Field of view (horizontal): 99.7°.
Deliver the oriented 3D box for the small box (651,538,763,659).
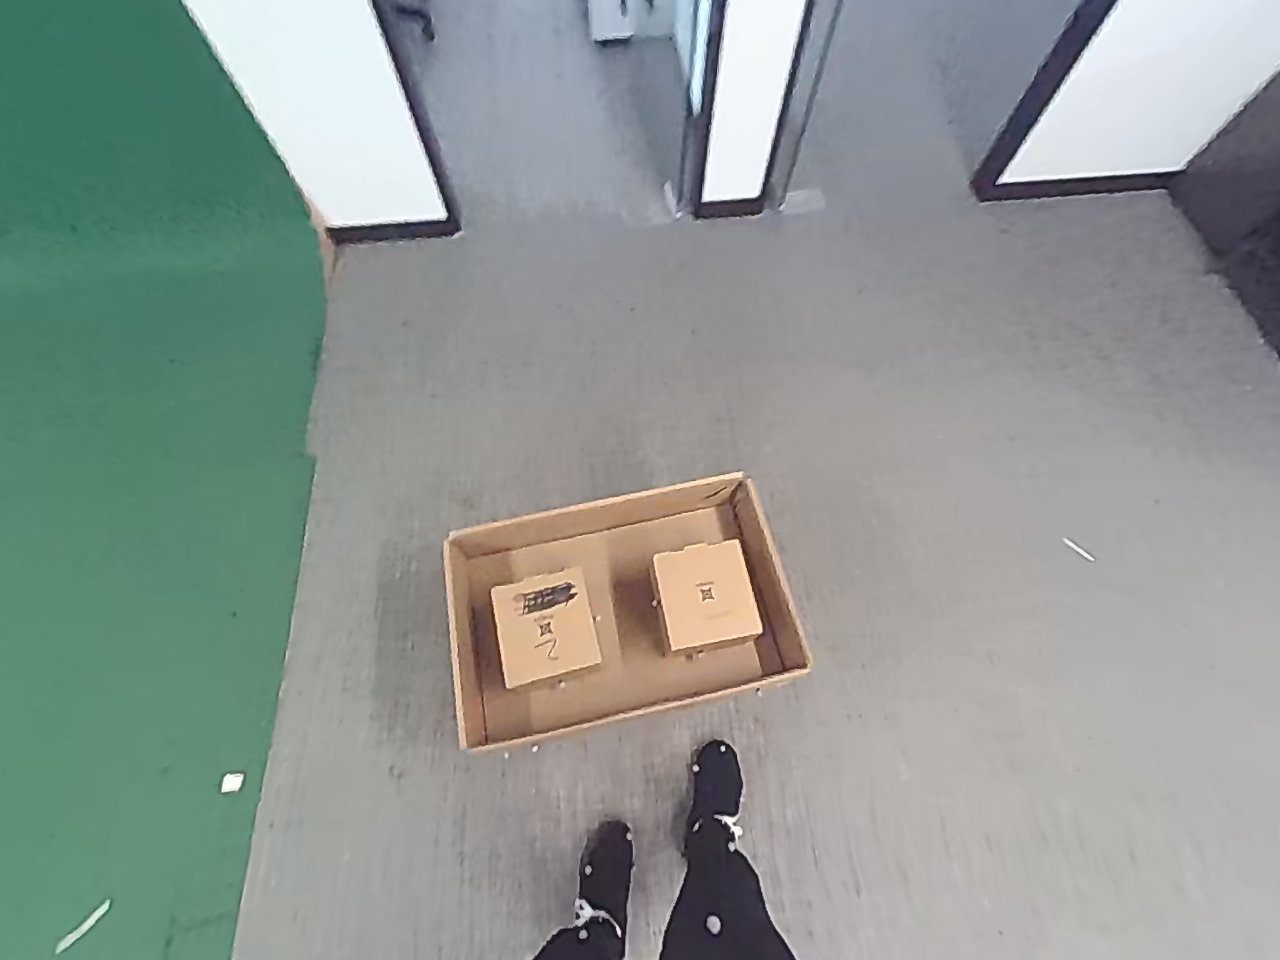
[{"bbox_3d":[0.115,0.229,1.027,0.168,0.176,0.179,-9,66,-5],"label":"small box"}]
